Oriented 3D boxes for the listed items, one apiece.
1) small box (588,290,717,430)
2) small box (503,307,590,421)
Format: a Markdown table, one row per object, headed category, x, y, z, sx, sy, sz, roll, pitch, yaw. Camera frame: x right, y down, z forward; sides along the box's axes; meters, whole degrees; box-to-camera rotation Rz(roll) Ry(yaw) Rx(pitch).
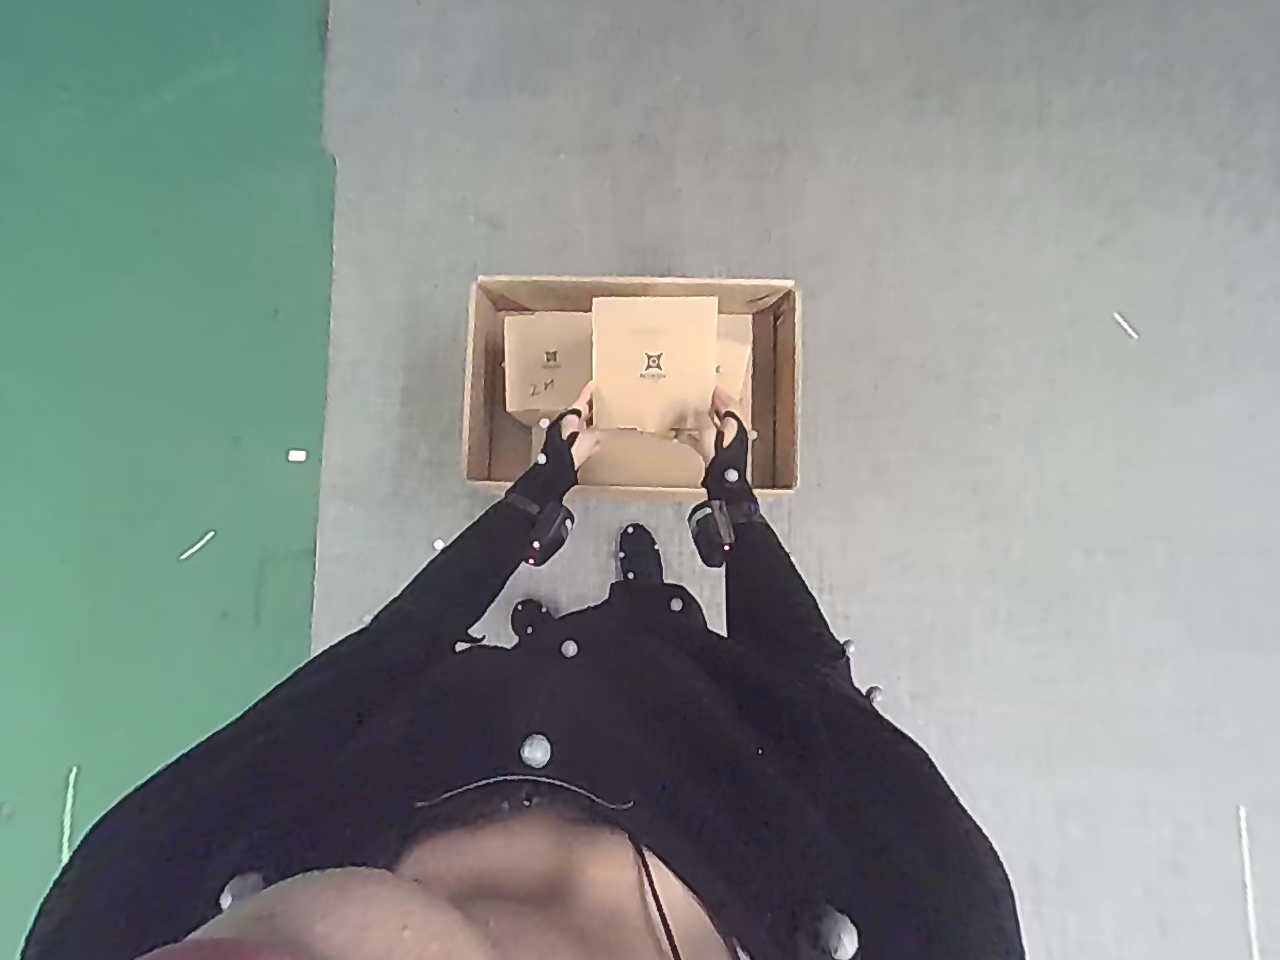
| category | x | y | z | sx | sy | sz | roll | pitch | yaw |
| --- | --- | --- | --- | --- | --- | --- | --- | --- | --- |
| small box | 0.020 | -0.170 | 0.780 | 0.168 | 0.176 | 0.179 | 2 | 100 | 3 |
| small box | -0.159 | -0.214 | 1.030 | 0.168 | 0.176 | 0.179 | -2 | 87 | 1 |
